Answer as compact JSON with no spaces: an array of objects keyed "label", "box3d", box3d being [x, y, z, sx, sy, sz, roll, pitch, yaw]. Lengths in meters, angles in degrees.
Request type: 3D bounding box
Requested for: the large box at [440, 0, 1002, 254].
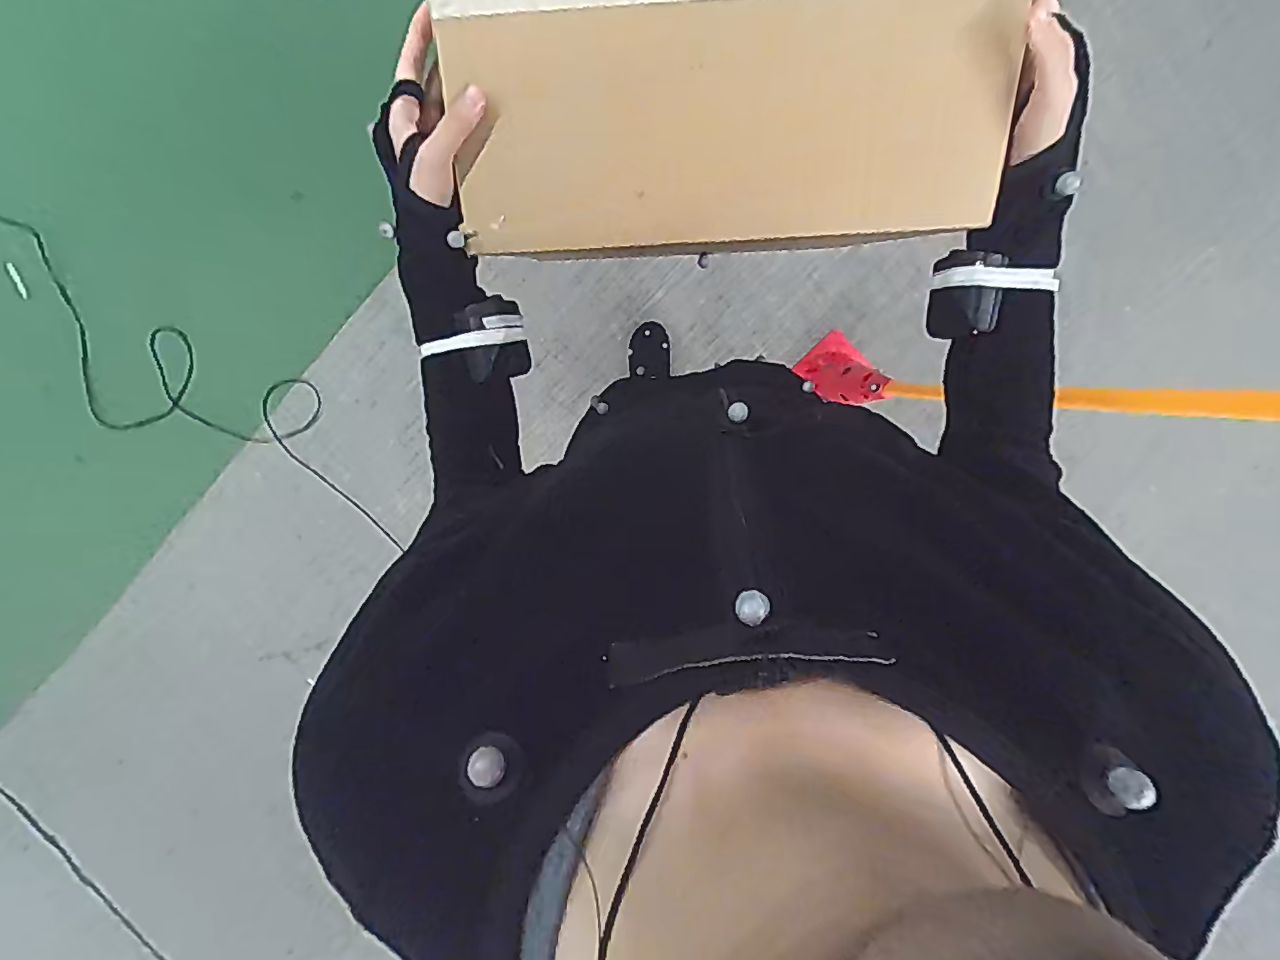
[{"label":"large box","box3d":[0.060,-0.392,0.517,0.408,0.320,0.320,-1,111,1]}]
